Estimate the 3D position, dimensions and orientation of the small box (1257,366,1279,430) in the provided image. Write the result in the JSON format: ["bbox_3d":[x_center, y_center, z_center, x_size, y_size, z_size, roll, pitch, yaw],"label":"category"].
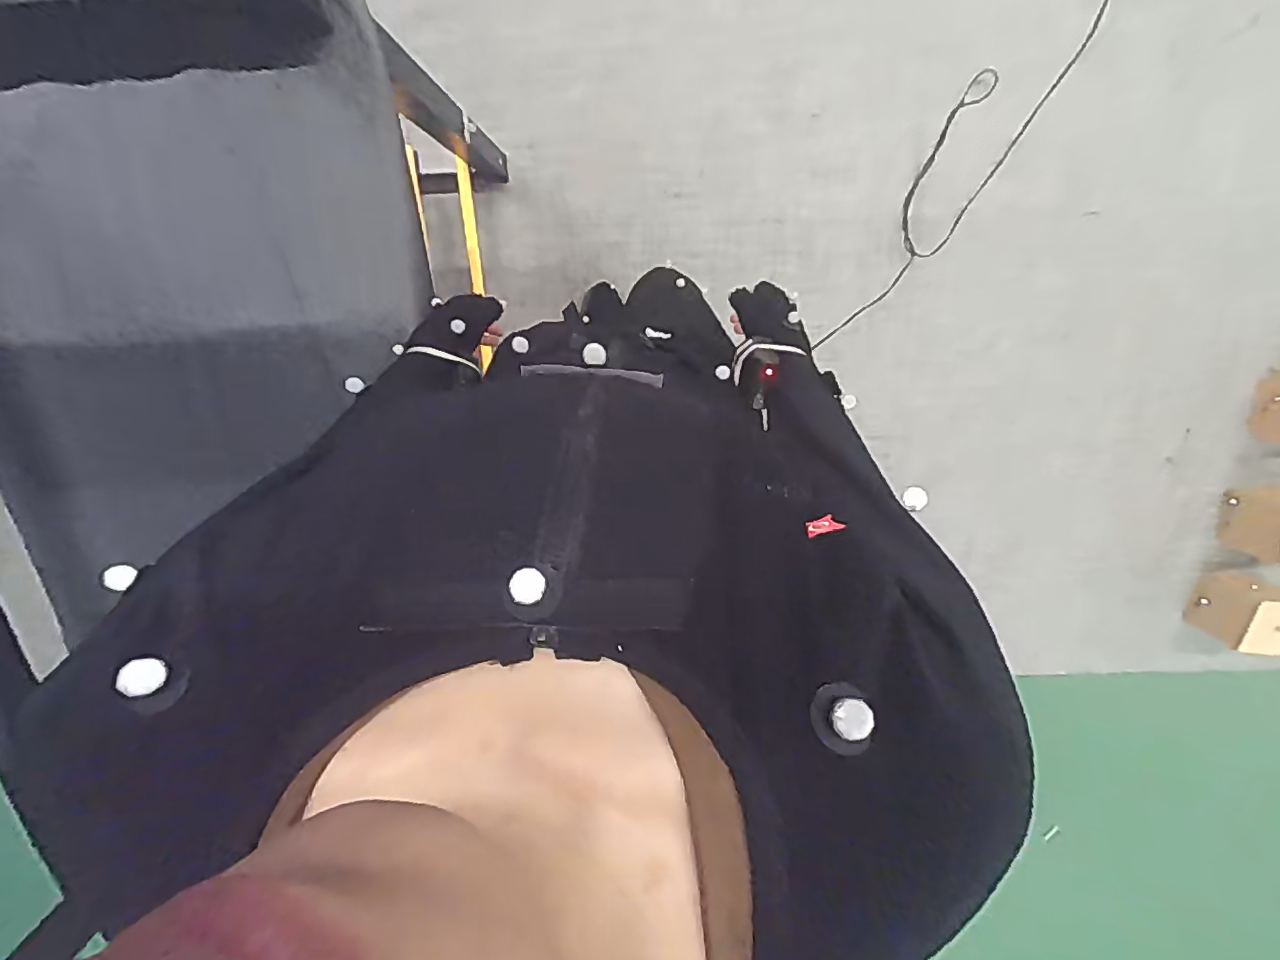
[{"bbox_3d":[1.717,-0.202,1.333,0.179,0.176,0.168,-5,108,3],"label":"small box"}]

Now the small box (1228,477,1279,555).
[{"bbox_3d":[1.740,0.098,1.435,0.179,0.176,0.168,-9,109,3],"label":"small box"}]
